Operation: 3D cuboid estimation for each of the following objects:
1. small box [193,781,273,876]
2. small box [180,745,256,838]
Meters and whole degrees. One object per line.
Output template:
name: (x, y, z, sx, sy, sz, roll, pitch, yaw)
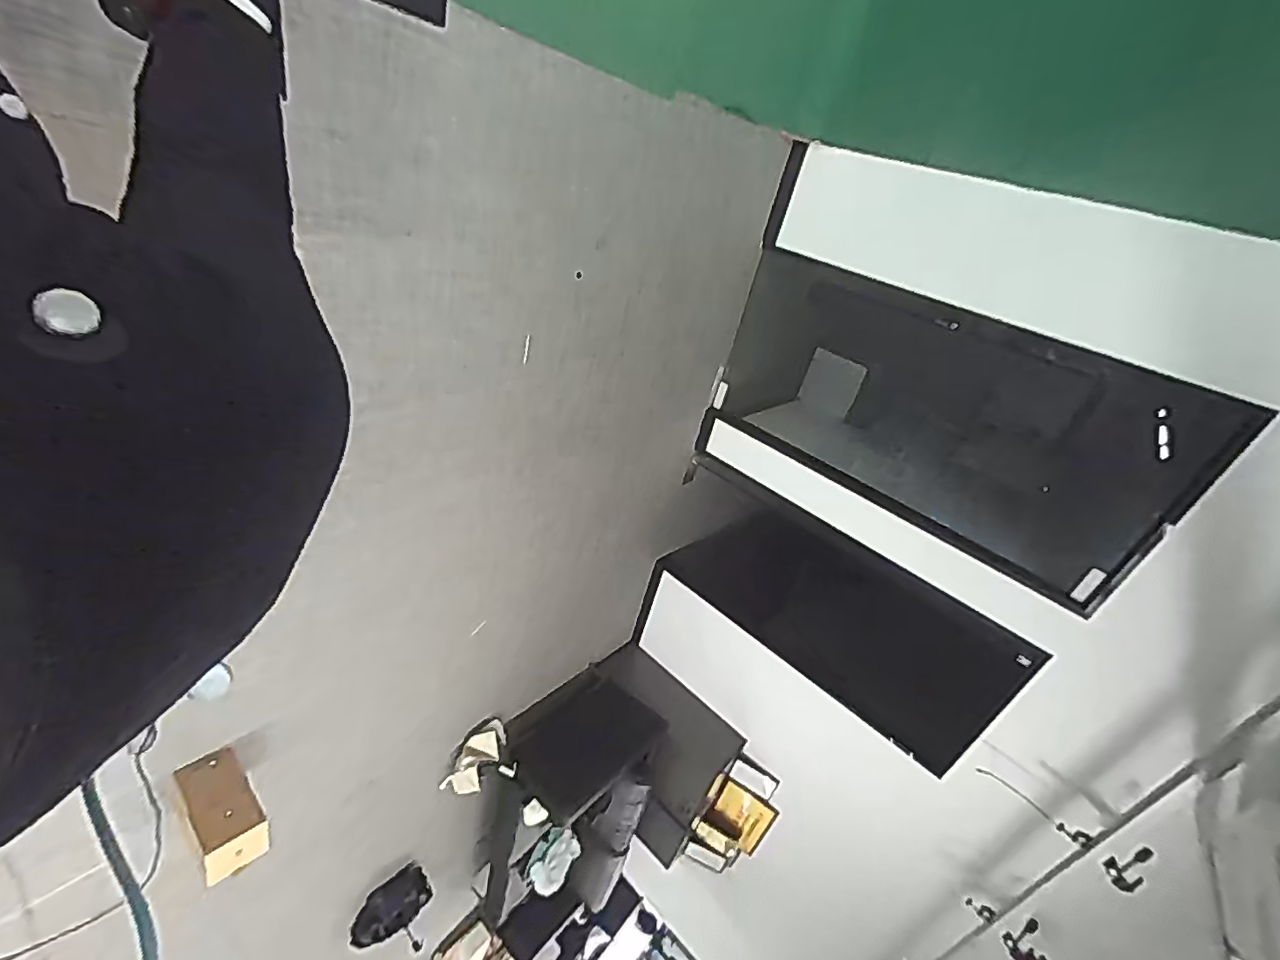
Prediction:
small box: (-1.313, 1.111, 1.746, 0.168, 0.176, 0.179, -17, 134, -50)
small box: (-1.421, 1.042, 1.821, 0.168, 0.176, 0.179, -14, 131, -51)
